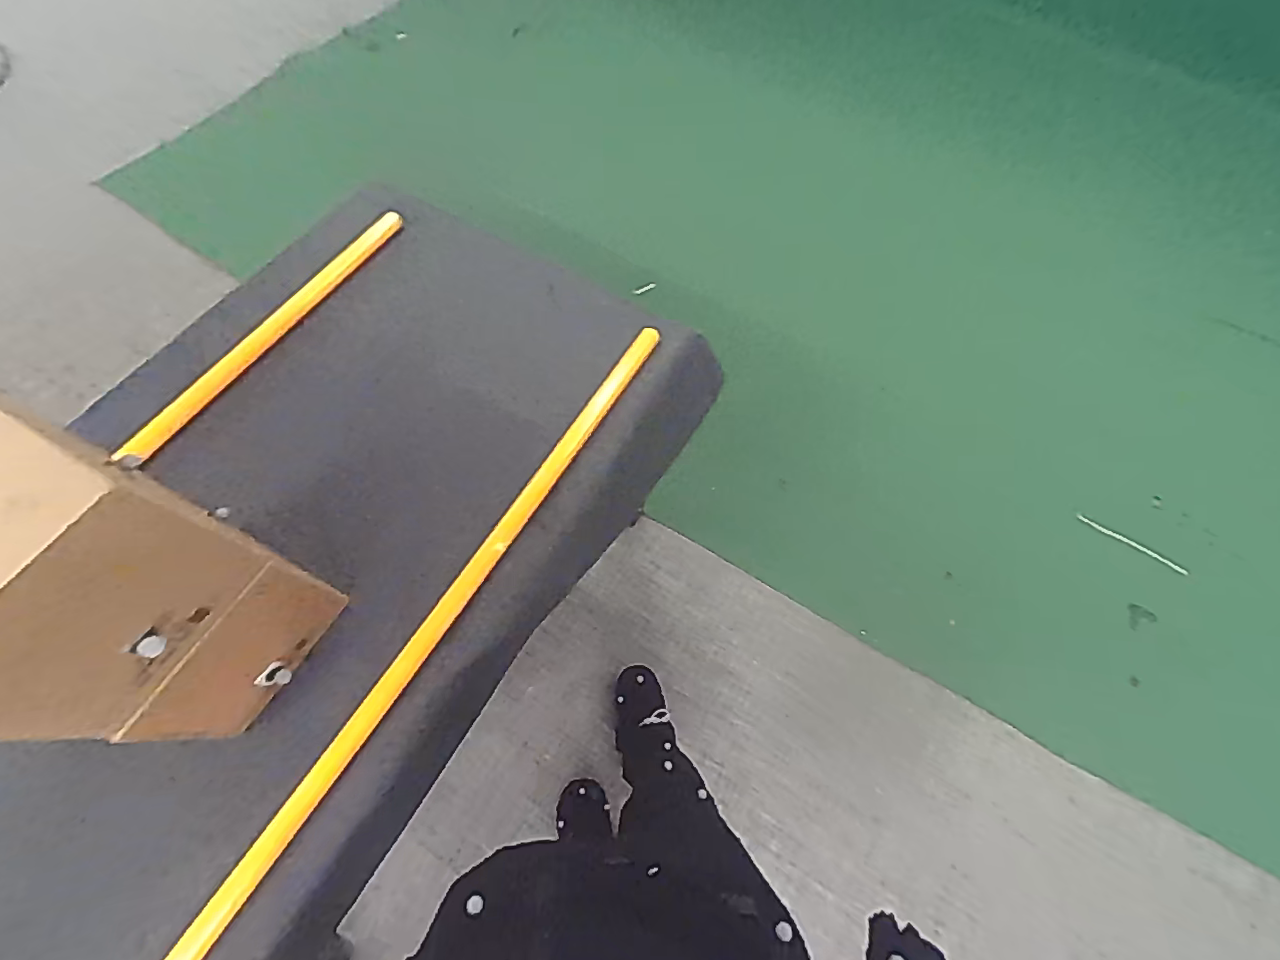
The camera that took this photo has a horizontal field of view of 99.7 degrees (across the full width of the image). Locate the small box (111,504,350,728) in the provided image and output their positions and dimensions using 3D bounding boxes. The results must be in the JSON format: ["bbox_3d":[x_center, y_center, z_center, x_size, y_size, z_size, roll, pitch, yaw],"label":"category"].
[{"bbox_3d":[-0.441,0.129,0.542,0.179,0.176,0.168,27,68,7],"label":"small box"}]

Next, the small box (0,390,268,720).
[{"bbox_3d":[-0.434,0.059,0.393,0.179,0.176,0.168,28,68,9],"label":"small box"}]
